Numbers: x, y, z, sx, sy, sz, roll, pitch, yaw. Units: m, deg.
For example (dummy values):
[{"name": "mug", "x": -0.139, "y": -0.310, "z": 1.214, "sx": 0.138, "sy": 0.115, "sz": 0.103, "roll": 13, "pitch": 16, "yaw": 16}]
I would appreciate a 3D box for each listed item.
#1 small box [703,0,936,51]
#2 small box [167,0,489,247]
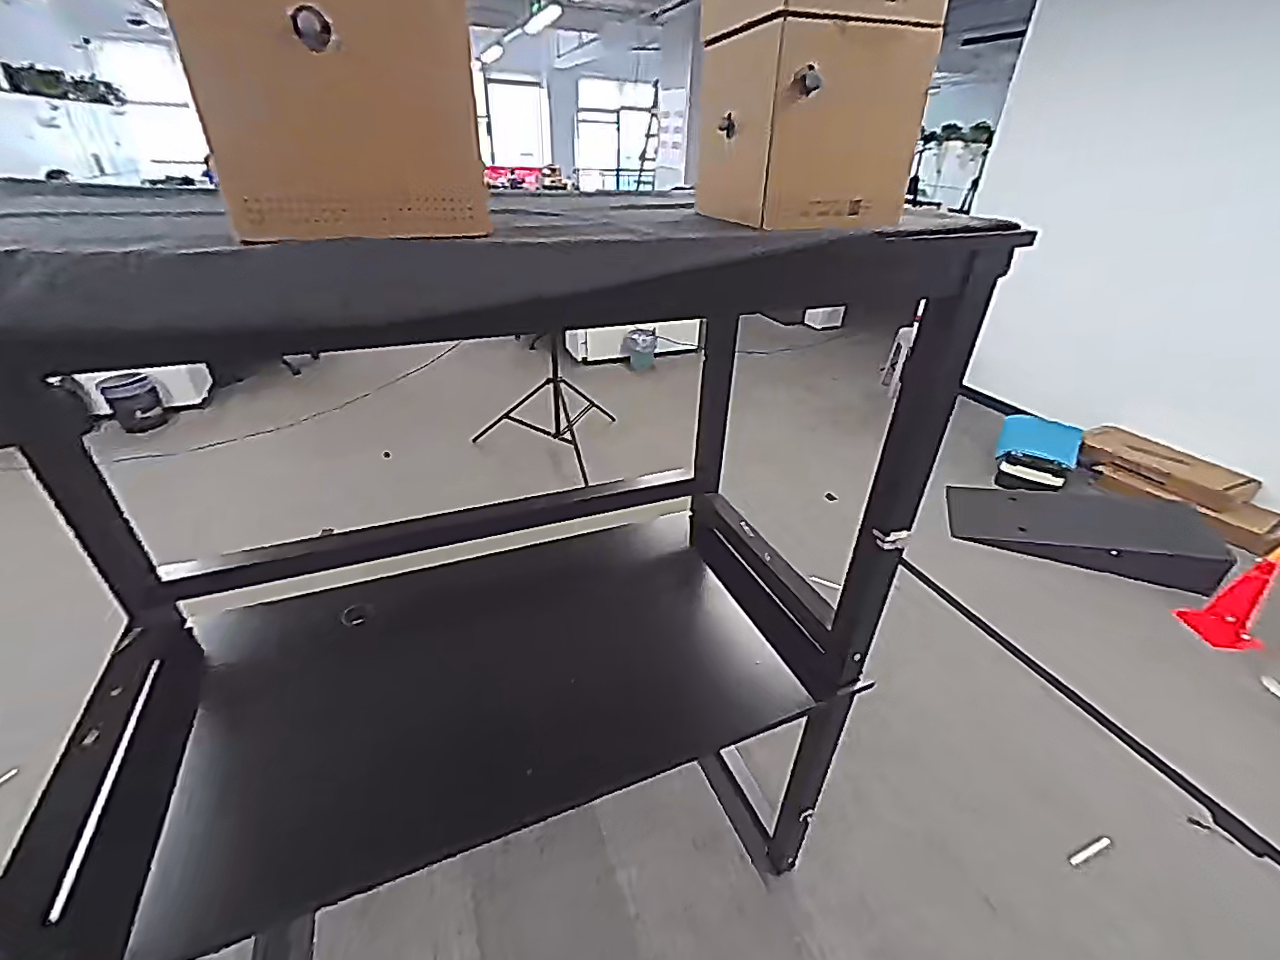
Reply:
[{"name": "small box", "x": 0.165, "y": -0.510, "z": 0.497, "sx": 0.168, "sy": 0.176, "sz": 0.179, "roll": -10, "pitch": 32, "yaw": -16}, {"name": "small box", "x": -0.232, "y": -0.285, "z": 0.431, "sx": 0.179, "sy": 0.176, "sz": 0.168, "roll": -12, "pitch": 32, "yaw": -23}]
